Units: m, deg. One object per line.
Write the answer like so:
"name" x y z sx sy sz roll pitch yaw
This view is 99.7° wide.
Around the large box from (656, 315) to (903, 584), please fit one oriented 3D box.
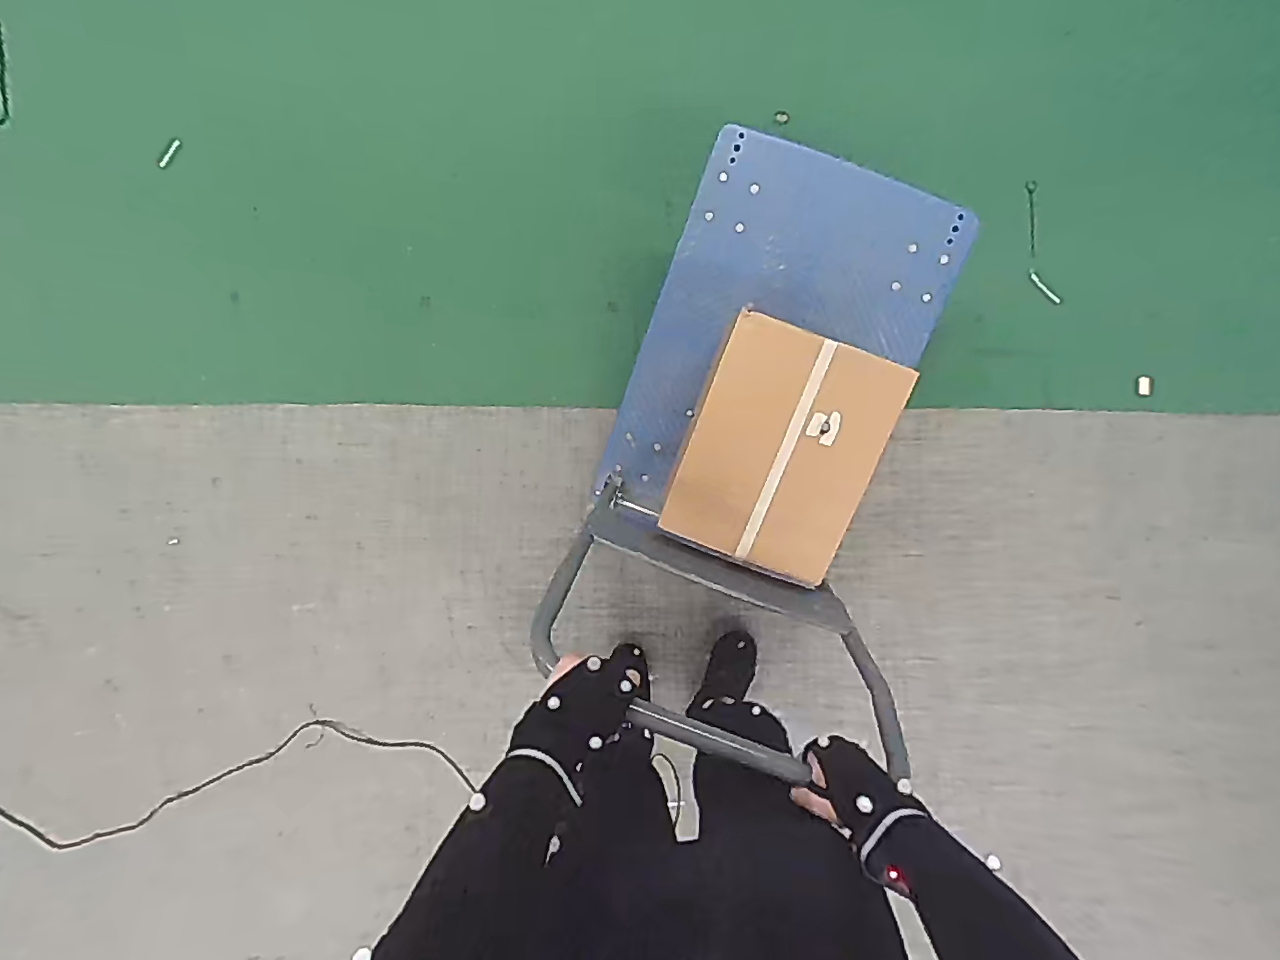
"large box" 0.246 -0.066 1.088 0.320 0.320 0.408 21 100 0
